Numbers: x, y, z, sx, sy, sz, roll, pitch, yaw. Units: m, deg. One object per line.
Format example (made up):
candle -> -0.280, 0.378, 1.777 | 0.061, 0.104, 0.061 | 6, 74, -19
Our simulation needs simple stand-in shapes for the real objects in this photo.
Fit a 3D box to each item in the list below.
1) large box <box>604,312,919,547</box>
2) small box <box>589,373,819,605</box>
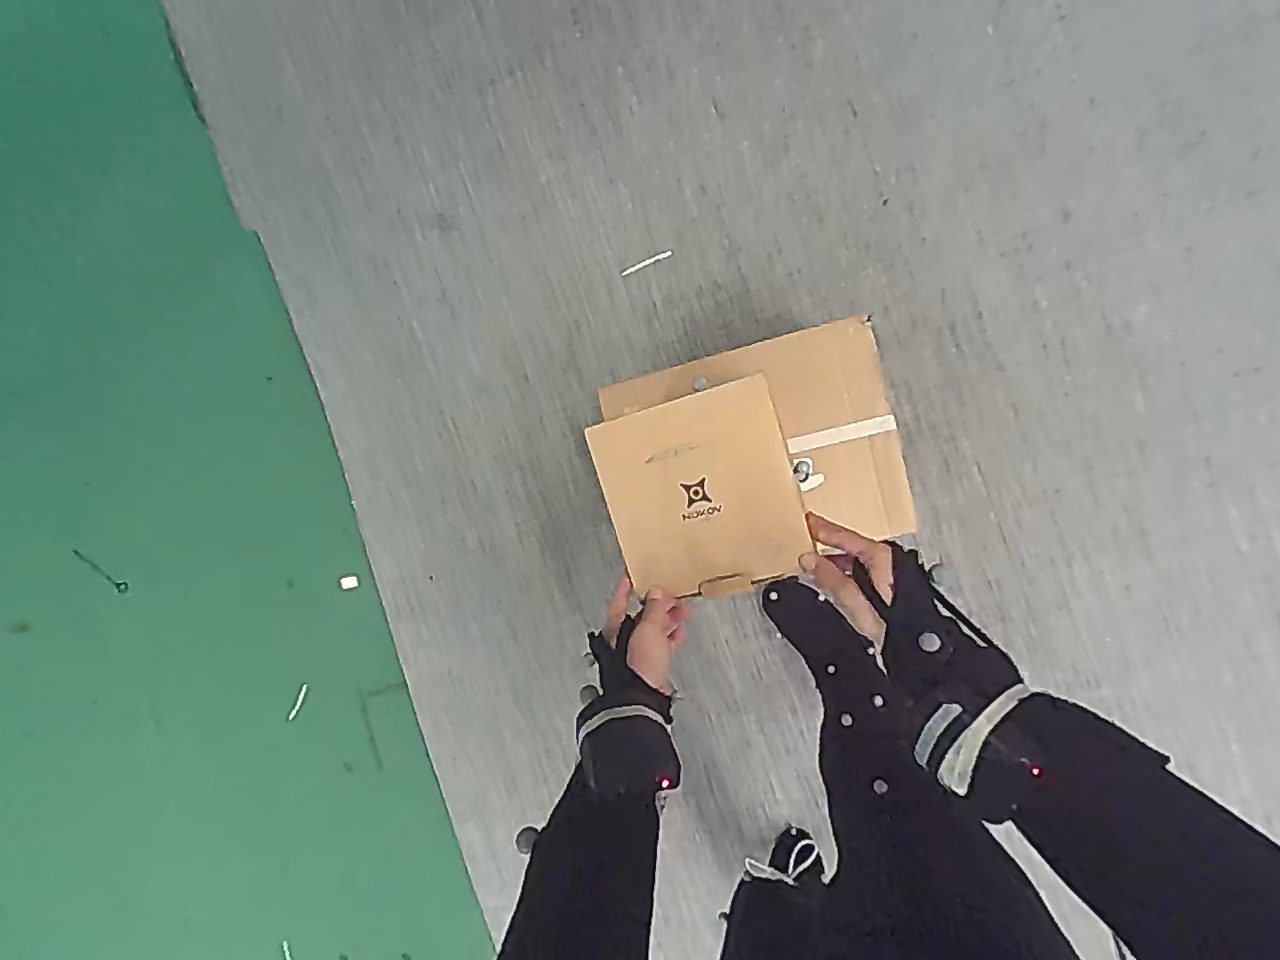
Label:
large box -> 0.197, -0.045, 0.937 | 0.408, 0.320, 0.320 | -14, 91, 13
small box -> 0.073, 0.001, 0.545 | 0.168, 0.176, 0.179 | -17, 94, 15
